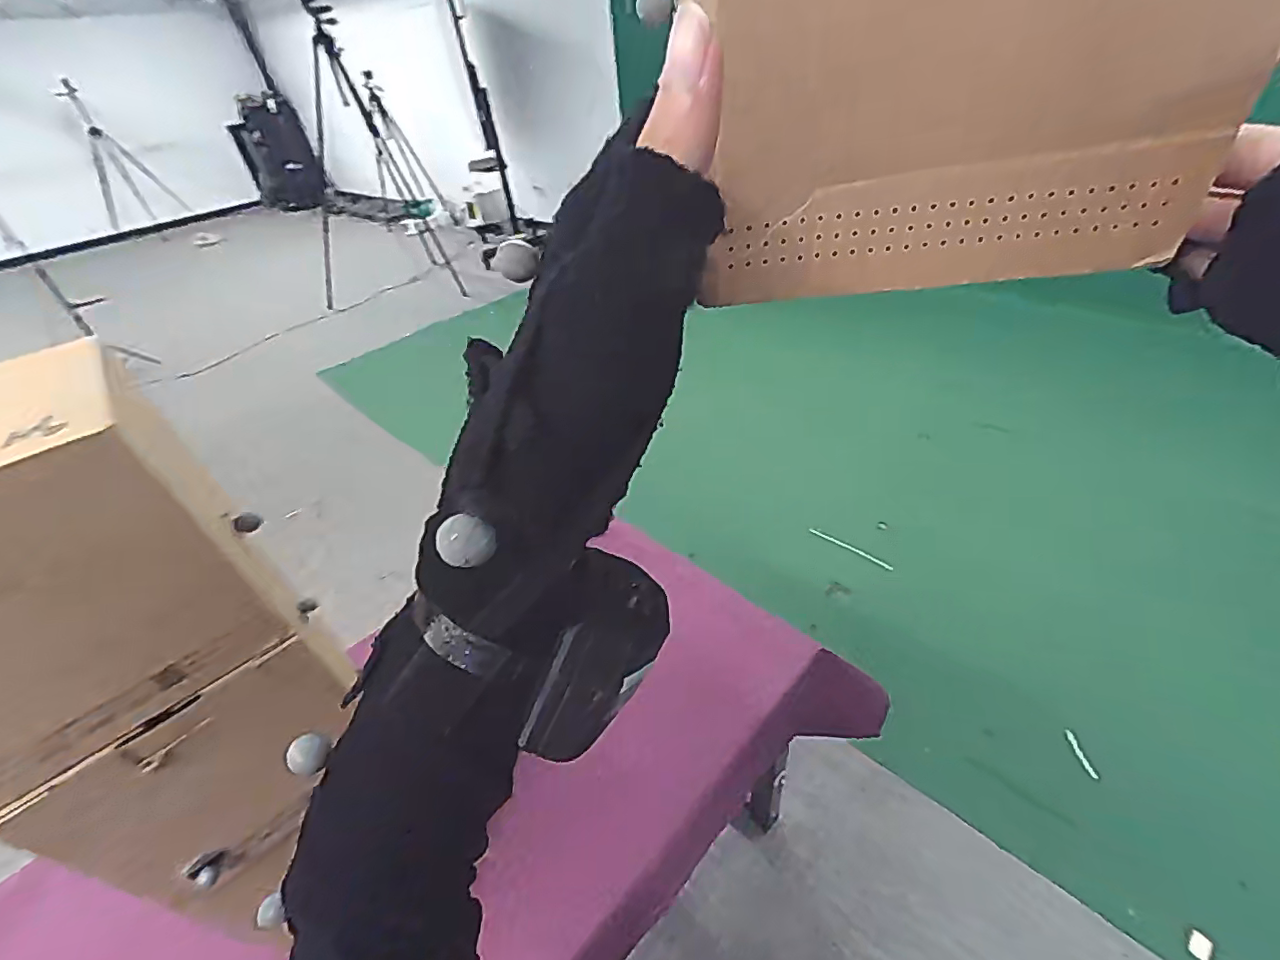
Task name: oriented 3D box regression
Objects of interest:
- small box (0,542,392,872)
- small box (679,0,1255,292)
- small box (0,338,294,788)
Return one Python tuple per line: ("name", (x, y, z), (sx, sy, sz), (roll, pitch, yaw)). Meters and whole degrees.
("small box", (-0.330, 0.166, 0.428), (0.168, 0.176, 0.179), (-34, 45, -28))
("small box", (0.104, -0.189, 0.220), (0.179, 0.176, 0.168), (-3, 42, 5))
("small box", (-0.351, 0.038, 0.328), (0.168, 0.176, 0.179), (-33, 45, -27))
